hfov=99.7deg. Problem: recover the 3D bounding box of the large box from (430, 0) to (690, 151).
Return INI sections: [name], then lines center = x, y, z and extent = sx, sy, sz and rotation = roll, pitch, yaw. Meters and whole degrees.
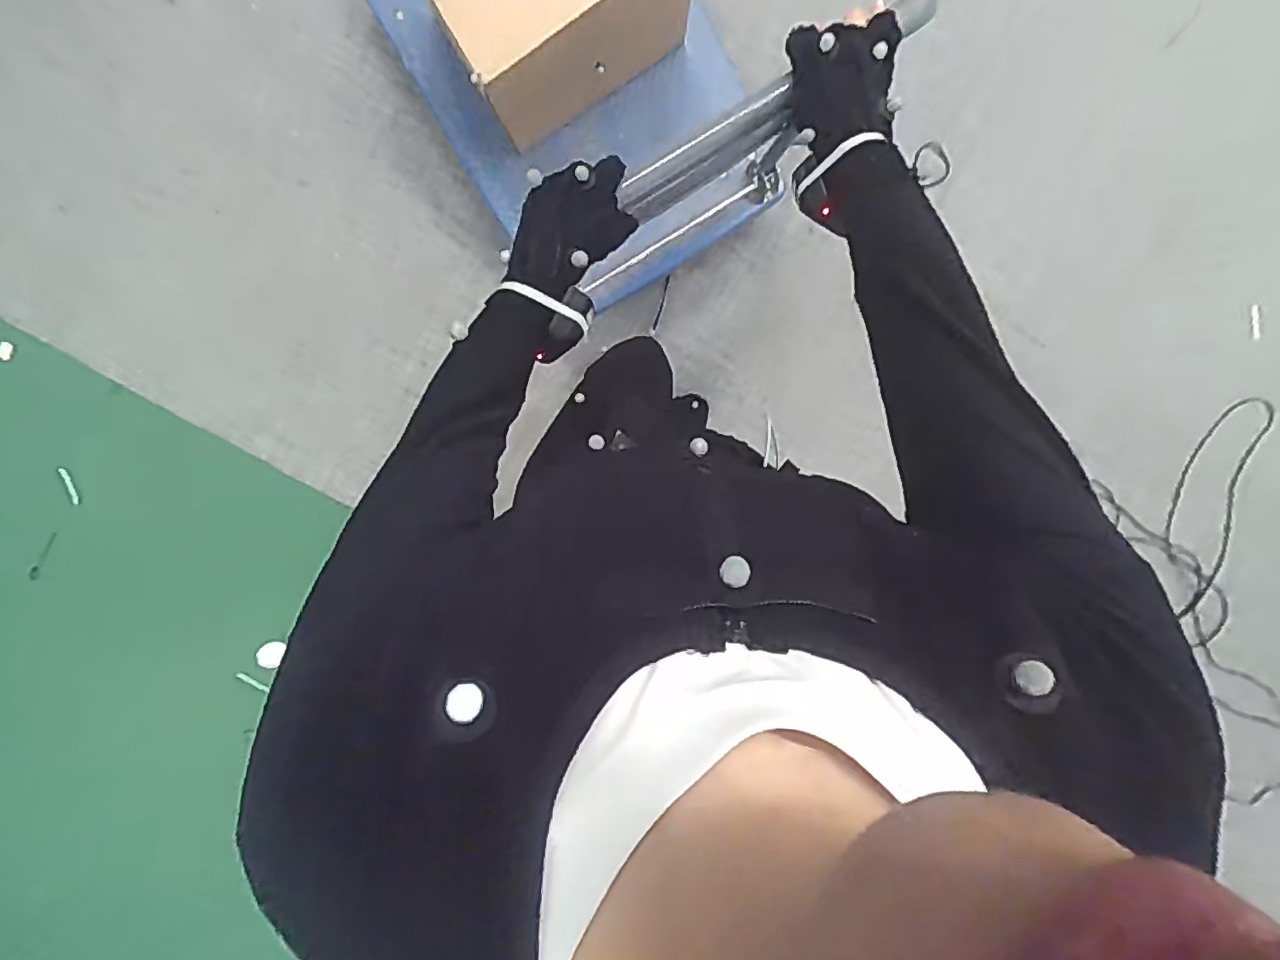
[large box]
center = -0.152, -0.883, 0.948
extent = 0.408, 0.320, 0.320
rotation = -32, 101, 7
